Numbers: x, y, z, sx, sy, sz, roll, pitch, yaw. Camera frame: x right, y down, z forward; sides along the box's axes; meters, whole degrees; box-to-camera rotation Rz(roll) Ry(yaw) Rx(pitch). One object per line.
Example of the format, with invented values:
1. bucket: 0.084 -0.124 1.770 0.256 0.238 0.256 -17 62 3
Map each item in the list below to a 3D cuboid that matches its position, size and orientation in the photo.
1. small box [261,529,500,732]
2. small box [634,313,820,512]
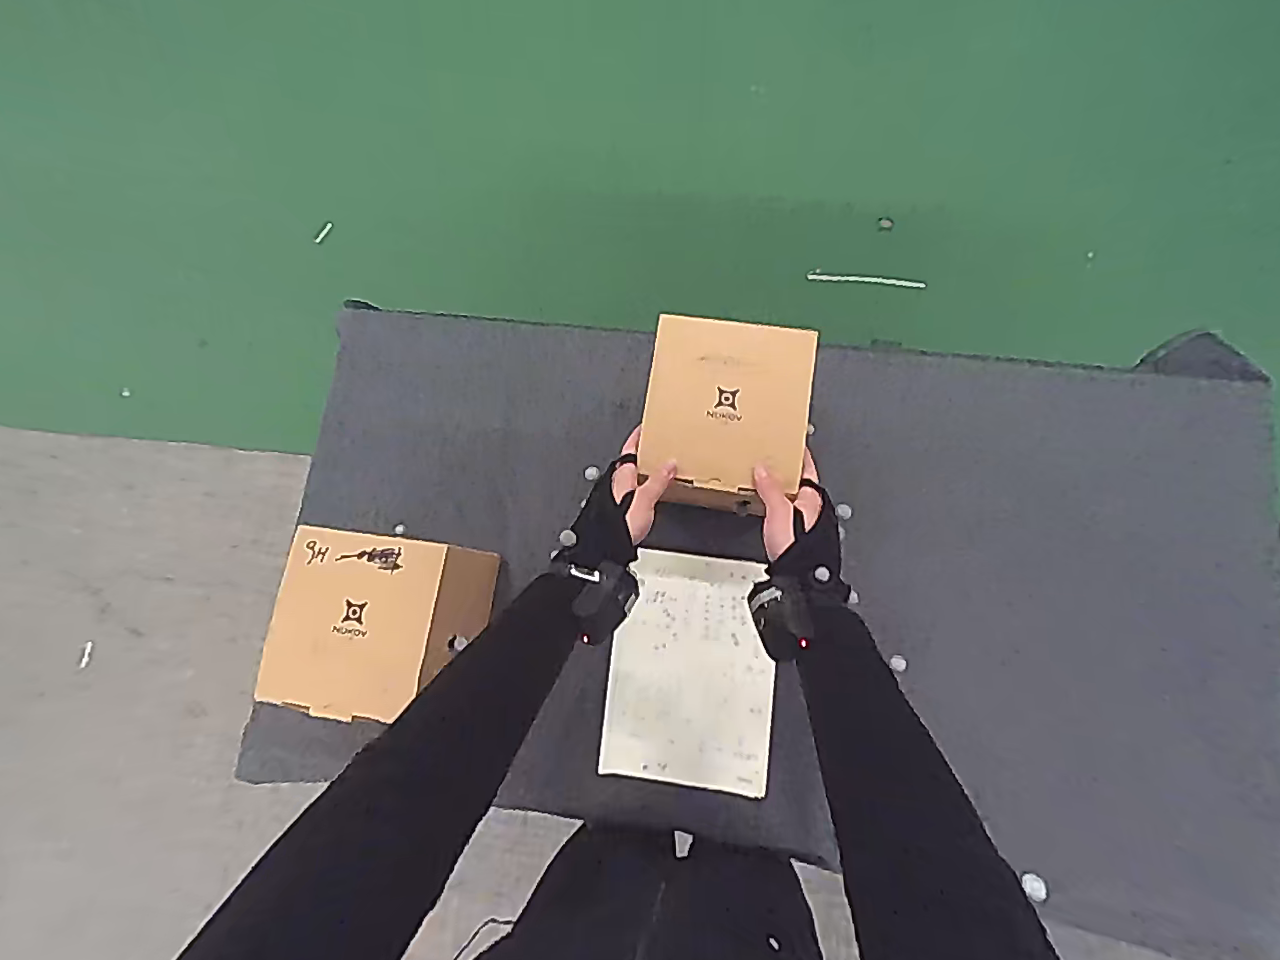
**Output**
1. small box: -0.274 0.160 0.615 0.168 0.176 0.179 7 80 6
2. small box: 0.093 -0.063 0.612 0.168 0.176 0.179 7 81 5
